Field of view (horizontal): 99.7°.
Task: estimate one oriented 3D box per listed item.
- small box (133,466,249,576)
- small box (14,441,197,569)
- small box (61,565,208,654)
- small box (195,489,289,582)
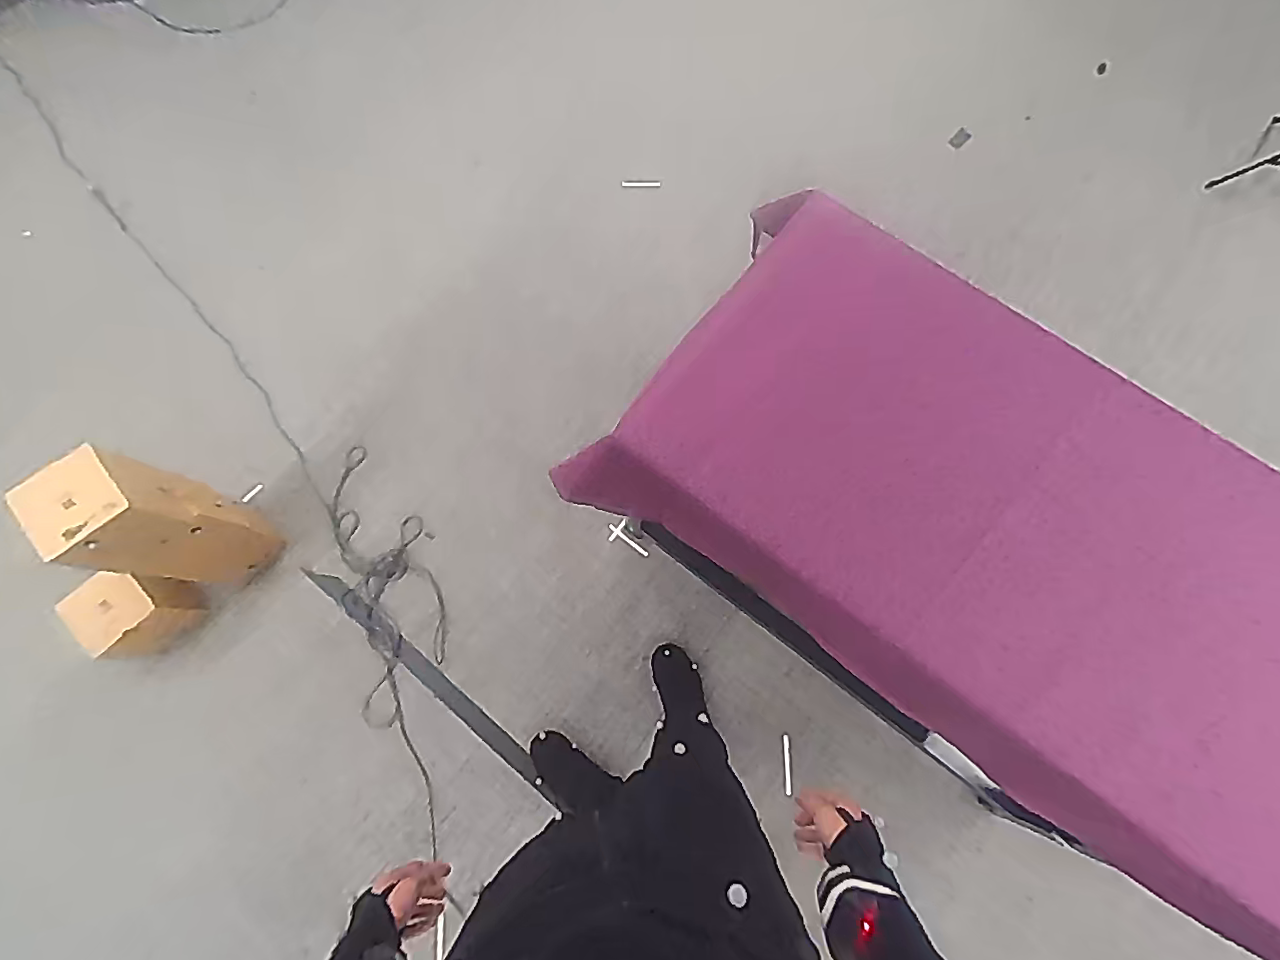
[{"bbox_3d":[-1.069,0.102,1.250,0.168,0.176,0.179,40,76,10],"label":"small box"},{"bbox_3d":[-1.065,0.058,1.092,0.168,0.176,0.179,-40,77,-12],"label":"small box"},{"bbox_3d":[-1.248,0.315,1.348,0.179,0.176,0.168,43,77,10],"label":"small box"},{"bbox_3d":[-1.074,0.149,1.406,0.179,0.176,0.168,39,77,9],"label":"small box"}]
